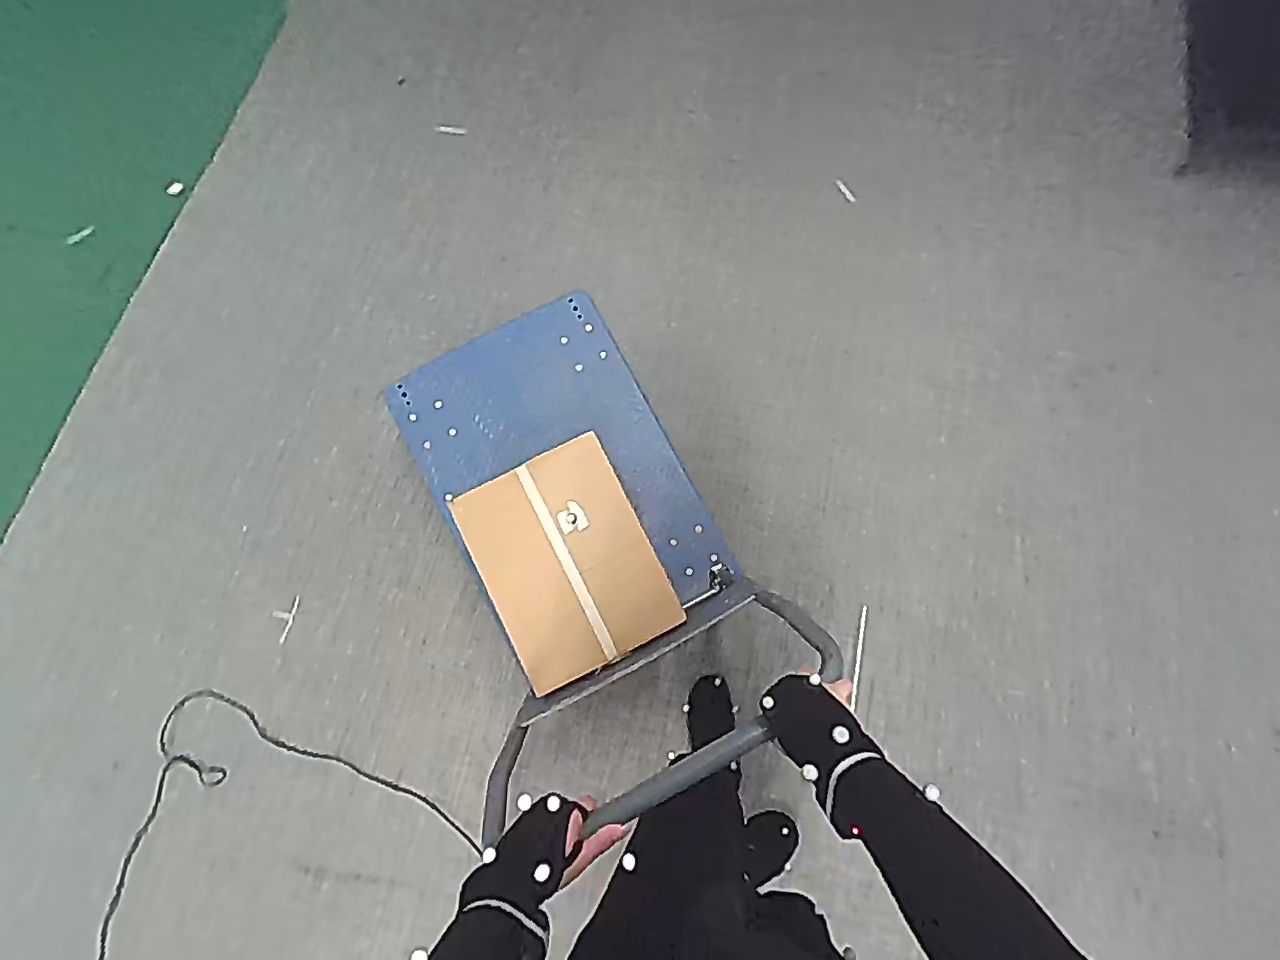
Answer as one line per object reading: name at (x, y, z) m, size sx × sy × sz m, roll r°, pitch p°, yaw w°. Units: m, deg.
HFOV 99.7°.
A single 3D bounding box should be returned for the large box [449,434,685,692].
large box at (-0.140, 0.168, 1.169) m, size 0.320 × 0.320 × 0.408 m, roll -27°, pitch 84°, yaw -4°
